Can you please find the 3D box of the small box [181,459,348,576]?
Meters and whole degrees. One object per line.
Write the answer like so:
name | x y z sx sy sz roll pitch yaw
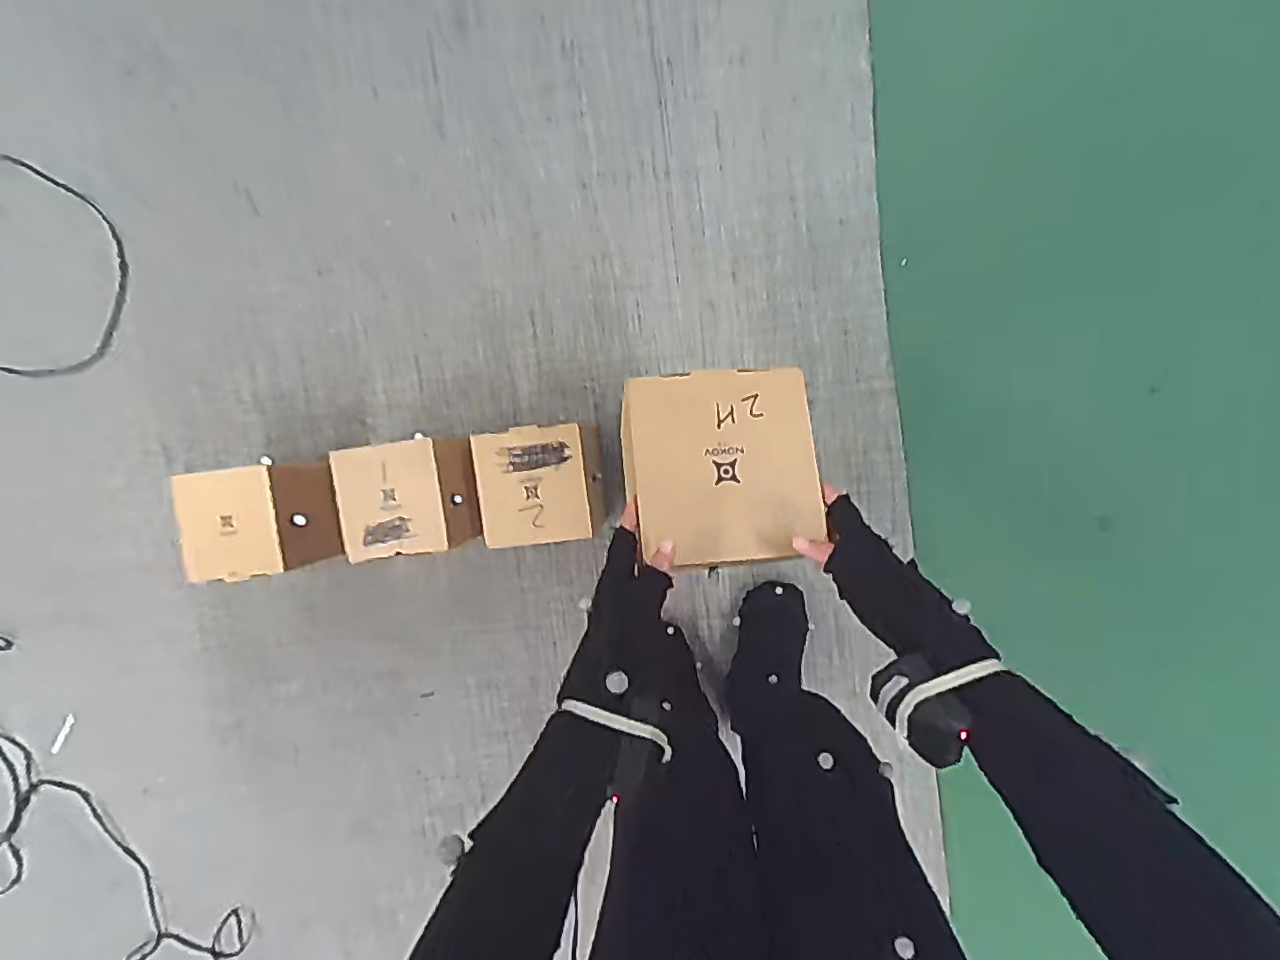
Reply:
small box | -0.642 0.057 0.946 0.168 0.176 0.179 -7 93 6

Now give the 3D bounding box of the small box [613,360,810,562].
small box | 0.059 -0.007 0.562 0.168 0.176 0.179 -4 78 -4

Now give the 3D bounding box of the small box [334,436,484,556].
small box | -0.380 0.020 0.919 0.168 0.176 0.179 -7 92 6
